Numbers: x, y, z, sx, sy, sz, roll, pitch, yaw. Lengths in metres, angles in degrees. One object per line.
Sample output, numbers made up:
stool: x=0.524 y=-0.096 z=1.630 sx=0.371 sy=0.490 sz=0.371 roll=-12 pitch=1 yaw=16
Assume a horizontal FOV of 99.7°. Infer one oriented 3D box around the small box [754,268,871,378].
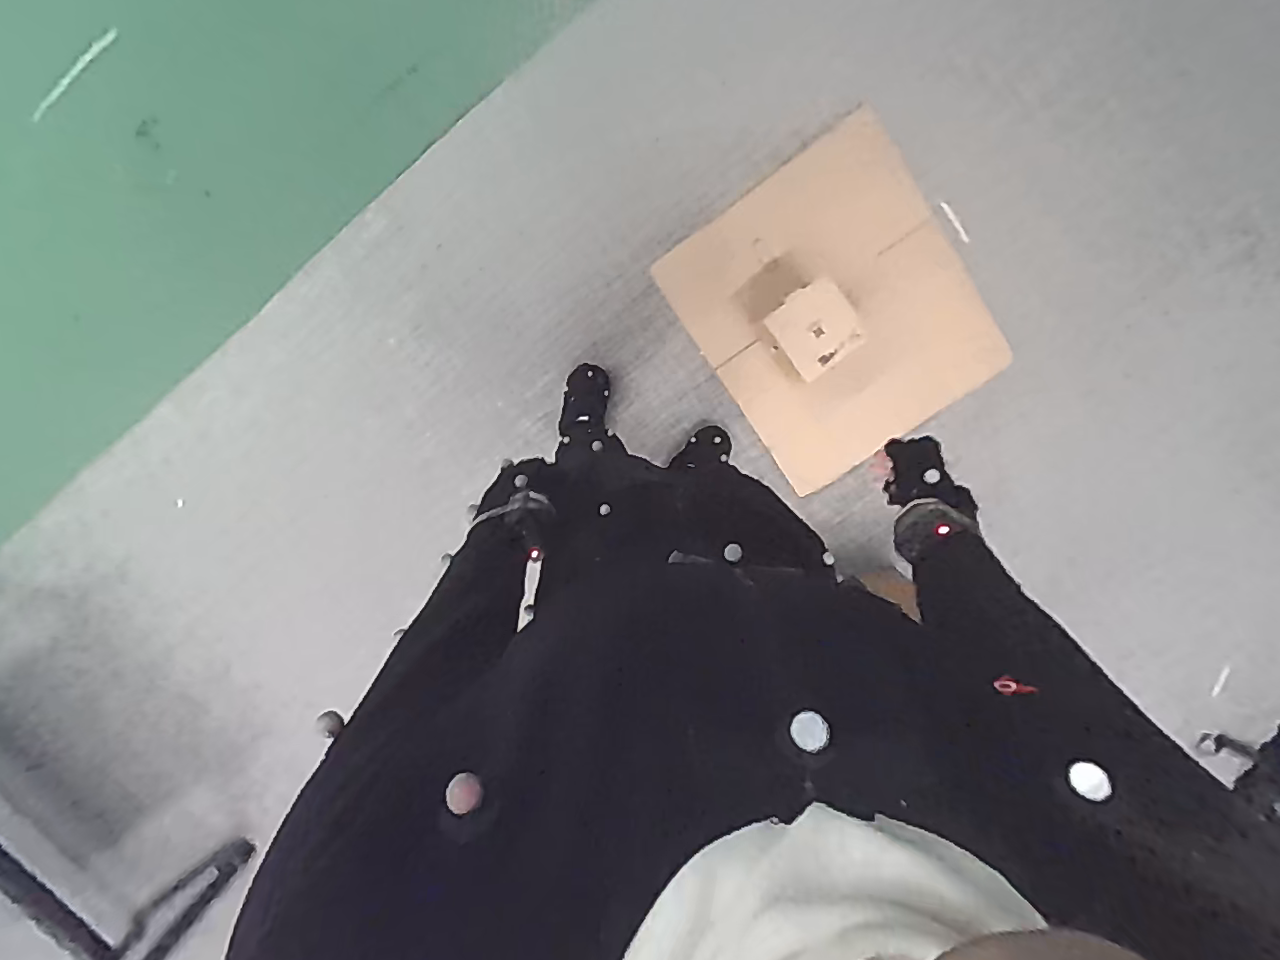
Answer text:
small box: x=0.383 y=-0.347 z=1.239 sx=0.168 sy=0.176 sz=0.179 roll=-39 pitch=96 yaw=8
